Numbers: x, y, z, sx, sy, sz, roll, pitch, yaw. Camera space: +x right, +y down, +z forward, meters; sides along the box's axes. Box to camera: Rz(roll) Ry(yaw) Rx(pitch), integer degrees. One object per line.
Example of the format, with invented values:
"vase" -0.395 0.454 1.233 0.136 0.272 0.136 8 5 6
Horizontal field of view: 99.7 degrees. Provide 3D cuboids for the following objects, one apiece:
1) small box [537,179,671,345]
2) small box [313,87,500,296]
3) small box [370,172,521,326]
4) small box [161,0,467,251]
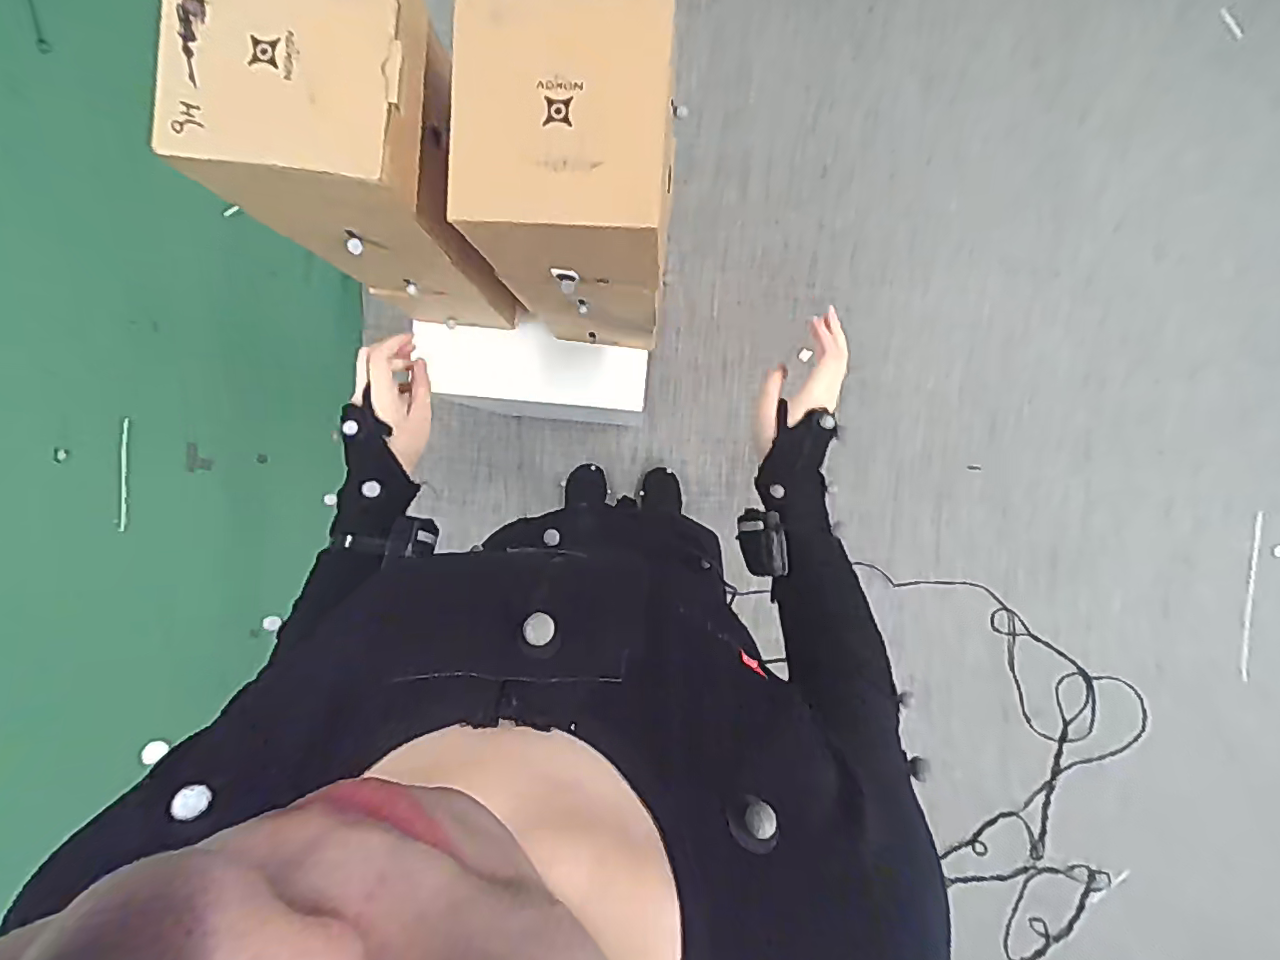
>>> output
"small box" -0.049 -0.315 0.814 0.168 0.176 0.179 7 94 1
"small box" -0.273 -0.340 0.648 0.168 0.176 0.179 7 93 -1
"small box" -0.280 -0.345 0.812 0.168 0.176 0.179 6 94 -1
"small box" -0.268 -0.323 0.485 0.179 0.176 0.168 7 93 -2
